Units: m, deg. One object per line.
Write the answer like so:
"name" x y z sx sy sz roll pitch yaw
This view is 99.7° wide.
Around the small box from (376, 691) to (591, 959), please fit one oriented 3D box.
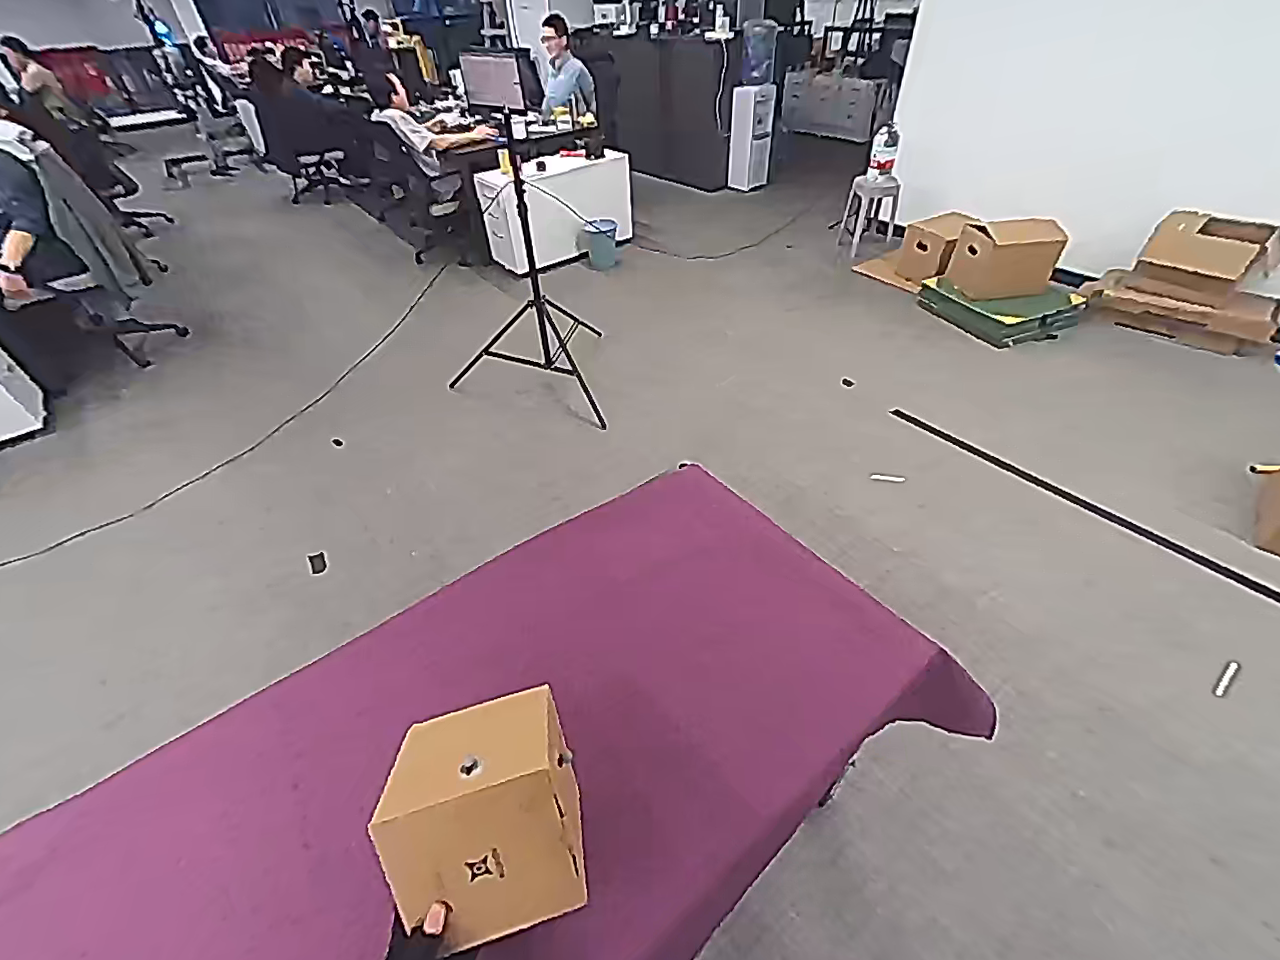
"small box" -0.165 0.371 0.616 0.179 0.168 0.176 -16 9 -6
